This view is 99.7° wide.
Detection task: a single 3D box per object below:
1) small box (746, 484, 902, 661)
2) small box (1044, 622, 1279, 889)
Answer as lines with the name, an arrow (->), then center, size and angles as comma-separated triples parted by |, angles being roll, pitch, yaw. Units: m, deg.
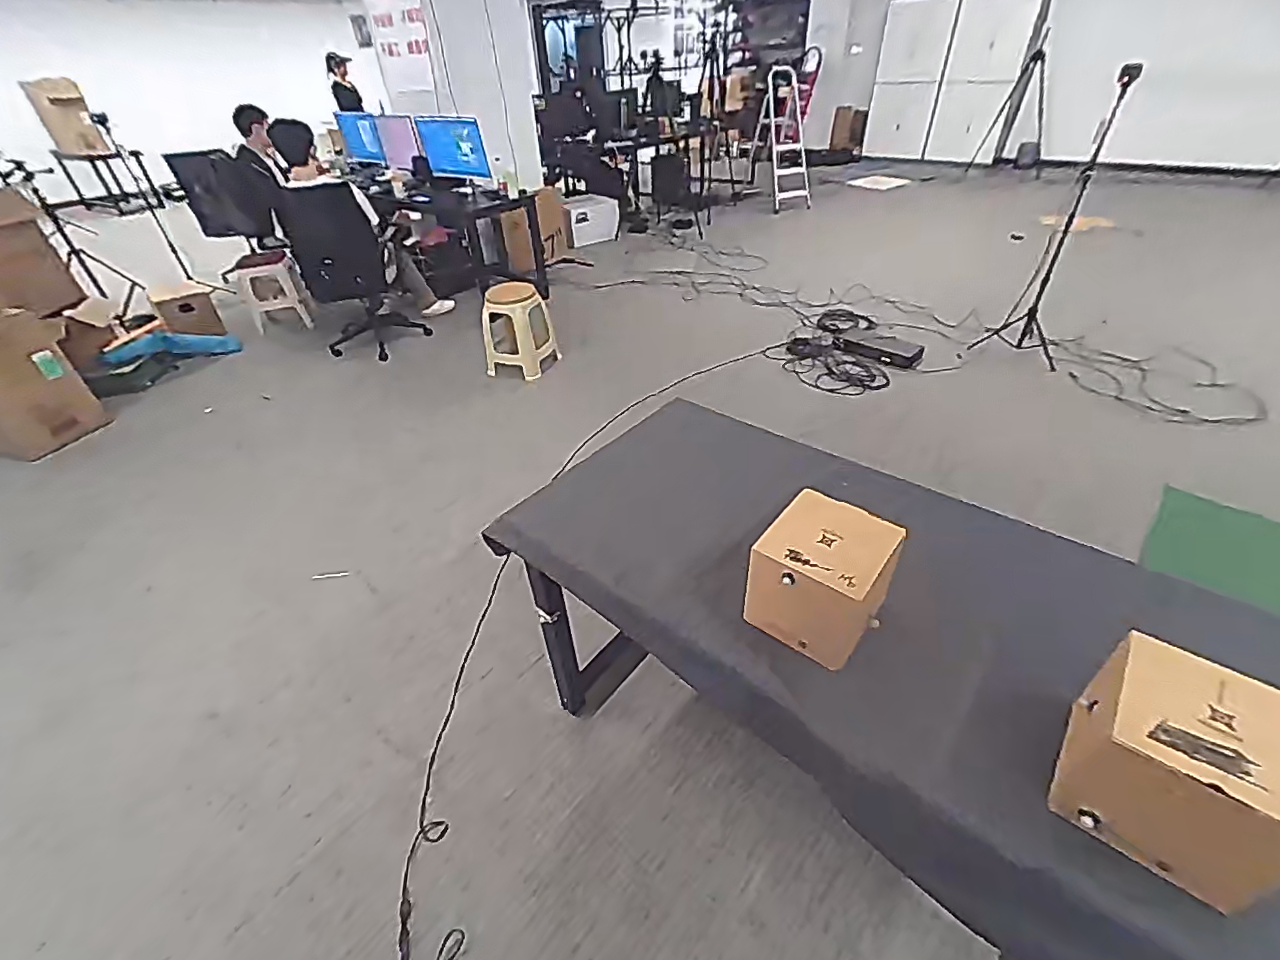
small box -> 0.280, 0.141, 0.851 | 0.168, 0.176, 0.179 | 26, 46, 32
small box -> 0.595, 0.307, 0.614 | 0.168, 0.176, 0.179 | 26, 45, 33
